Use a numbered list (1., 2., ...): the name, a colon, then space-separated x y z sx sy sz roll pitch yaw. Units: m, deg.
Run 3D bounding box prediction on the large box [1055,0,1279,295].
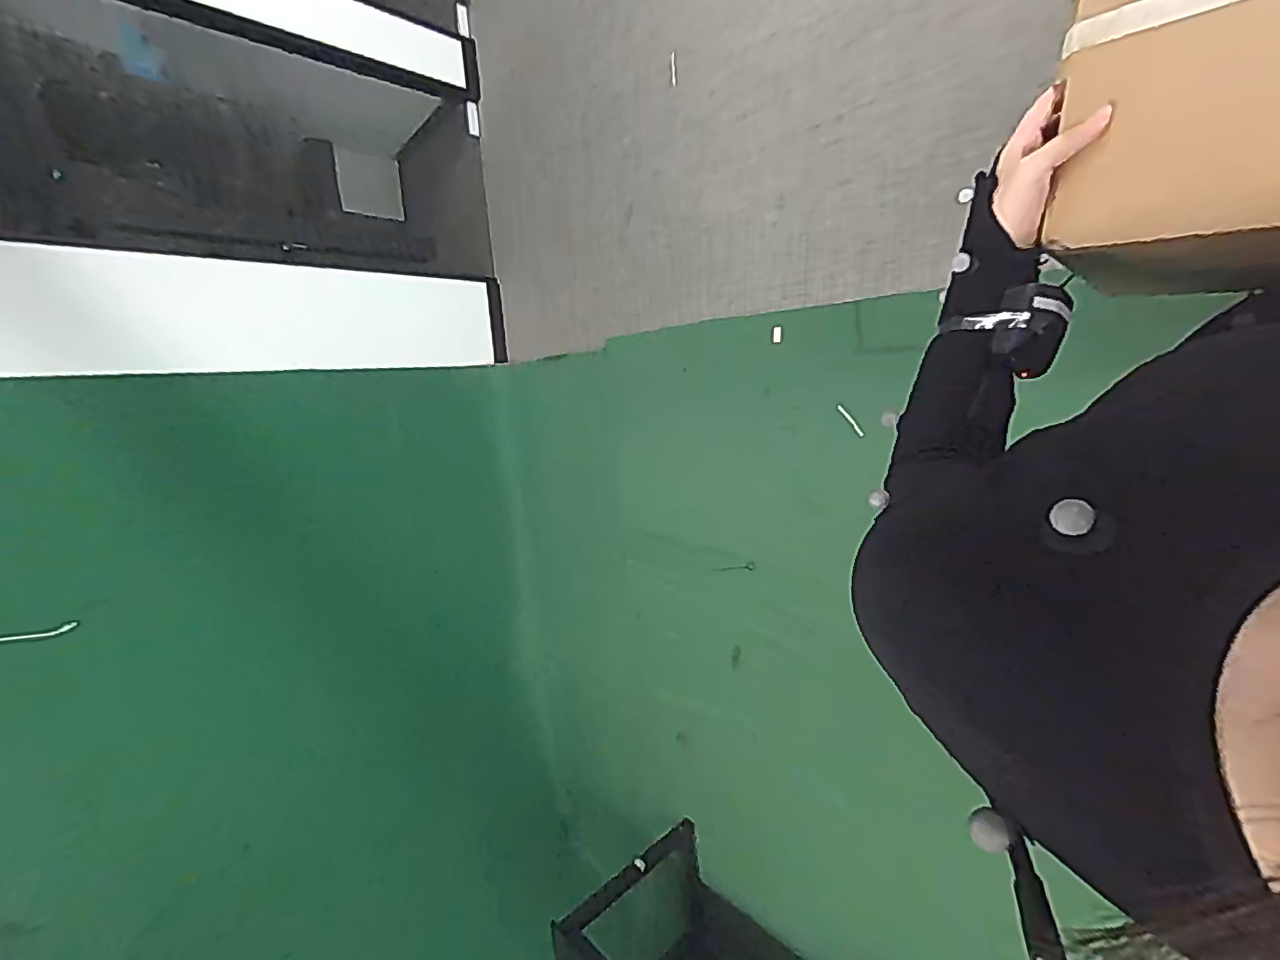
1. large box: 0.588 -0.330 0.384 0.408 0.320 0.320 13 105 45
